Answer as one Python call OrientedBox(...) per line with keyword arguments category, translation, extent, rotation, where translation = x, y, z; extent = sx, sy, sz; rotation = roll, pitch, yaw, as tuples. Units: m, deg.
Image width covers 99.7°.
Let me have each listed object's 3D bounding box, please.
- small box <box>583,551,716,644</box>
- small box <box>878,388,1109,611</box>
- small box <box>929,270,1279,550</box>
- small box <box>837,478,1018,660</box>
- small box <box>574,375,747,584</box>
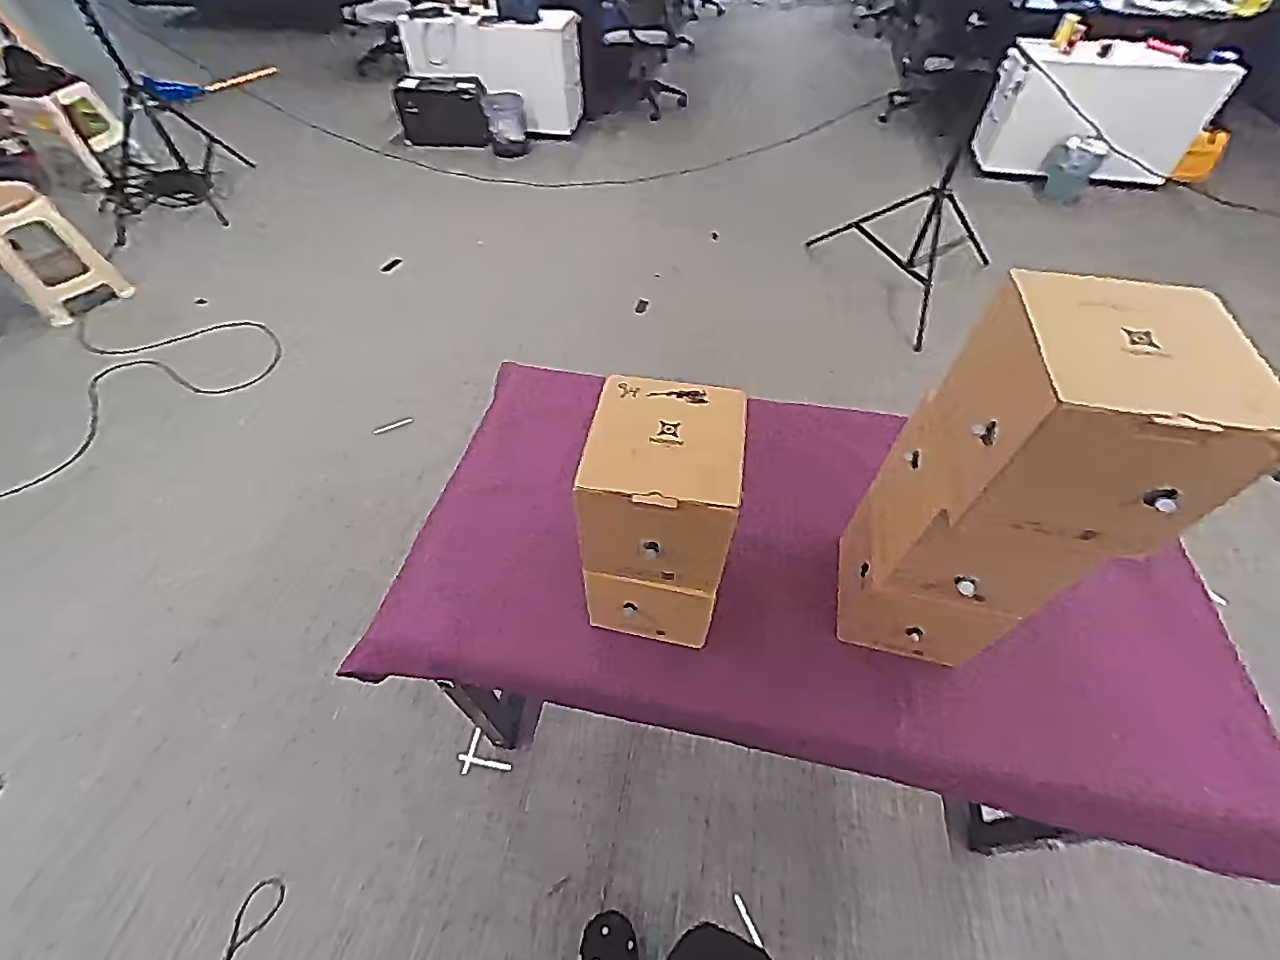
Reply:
OrientedBox(category="small box", translation=(0.027, 0.111, 0.763), extent=(0.168, 0.176, 0.179), rotation=(10, 51, 7))
OrientedBox(category="small box", translation=(0.387, 0.024, 0.624), extent=(0.168, 0.176, 0.179), rotation=(11, 53, 8))
OrientedBox(category="small box", translation=(0.386, -0.058, 0.483), extent=(0.168, 0.176, 0.179), rotation=(9, 52, 5))
OrientedBox(category="small box", translation=(0.382, 0.128, 0.752), extent=(0.168, 0.176, 0.179), rotation=(12, 52, 8))
OrientedBox(category="small box", translation=(0.028, 0.003, 0.639), extent=(0.168, 0.176, 0.179), rotation=(8, 52, 5))
